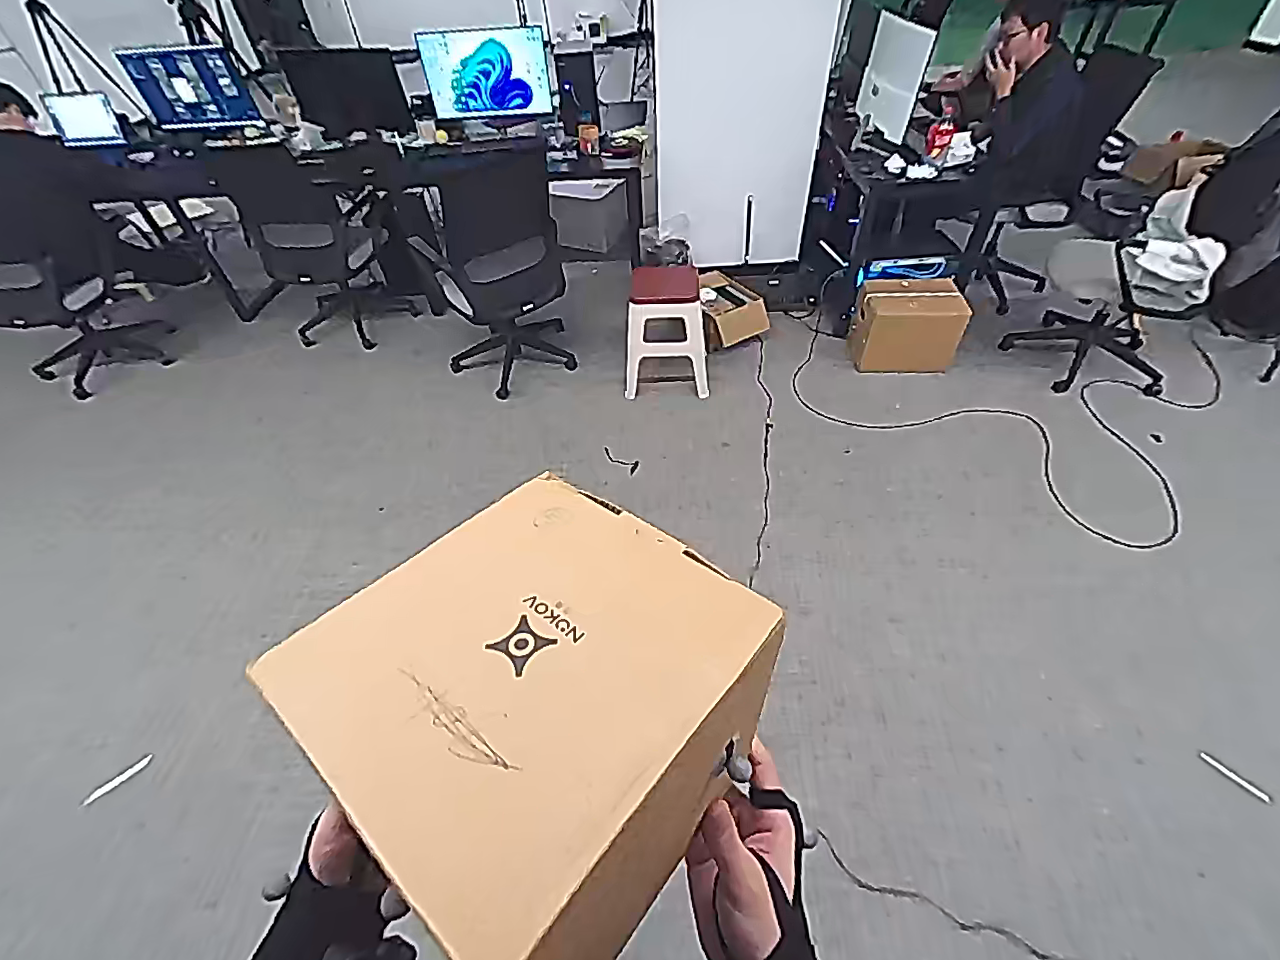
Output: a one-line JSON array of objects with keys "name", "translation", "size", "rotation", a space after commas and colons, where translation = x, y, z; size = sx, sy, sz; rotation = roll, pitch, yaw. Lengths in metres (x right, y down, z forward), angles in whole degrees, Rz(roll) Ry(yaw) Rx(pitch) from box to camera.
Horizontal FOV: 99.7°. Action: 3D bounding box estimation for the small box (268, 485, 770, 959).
[{"name": "small box", "translation": [-0.051, 0.139, 0.304], "size": [0.168, 0.176, 0.179], "rotation": [27, 48, 29]}]
